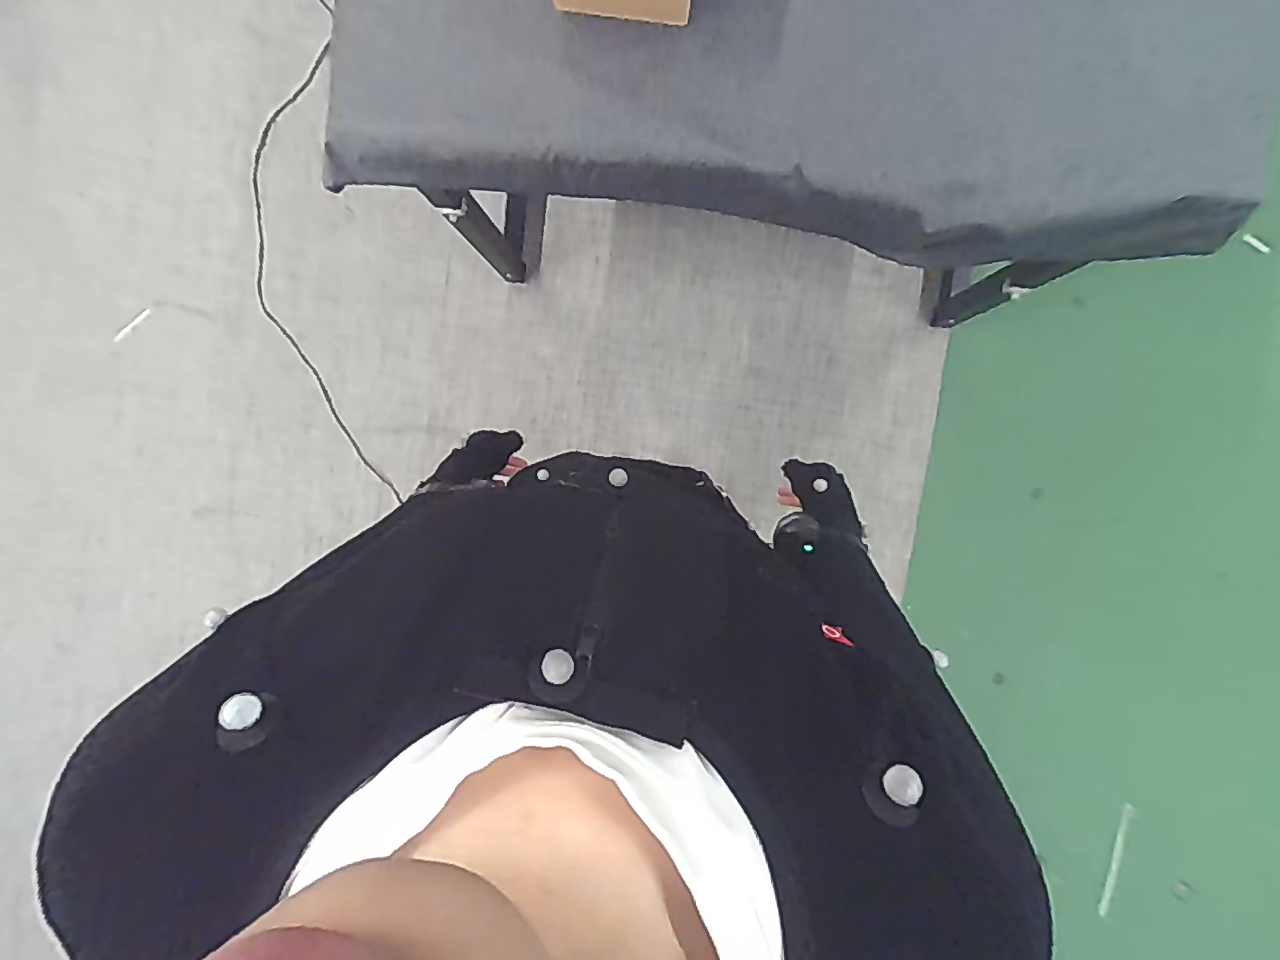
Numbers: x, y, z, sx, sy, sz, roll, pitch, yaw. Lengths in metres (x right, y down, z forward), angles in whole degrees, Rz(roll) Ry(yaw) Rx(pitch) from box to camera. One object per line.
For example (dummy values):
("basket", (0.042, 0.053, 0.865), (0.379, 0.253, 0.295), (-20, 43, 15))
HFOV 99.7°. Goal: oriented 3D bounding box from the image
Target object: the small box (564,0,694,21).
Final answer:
("small box", (-0.012, -0.681, 0.622), (0.179, 0.176, 0.168), (10, 93, 2))
